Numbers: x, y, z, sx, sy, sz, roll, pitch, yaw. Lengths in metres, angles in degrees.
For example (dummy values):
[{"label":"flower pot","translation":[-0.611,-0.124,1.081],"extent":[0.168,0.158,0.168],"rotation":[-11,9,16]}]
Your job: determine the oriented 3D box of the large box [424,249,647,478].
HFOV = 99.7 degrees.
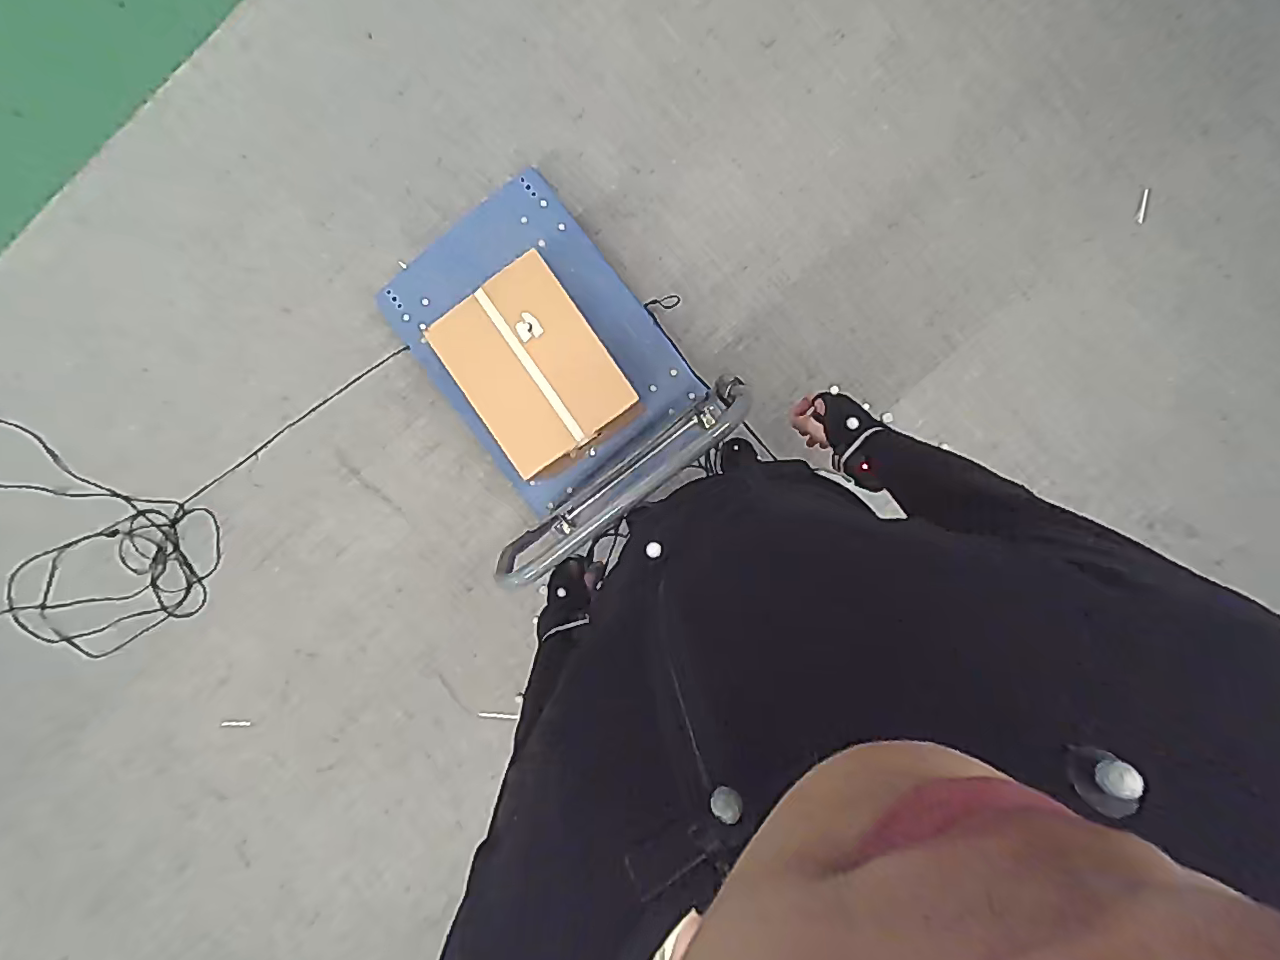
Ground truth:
[{"label":"large box","translation":[-0.225,-0.254,1.312],"extent":[0.320,0.320,0.408],"rotation":[-35,89,4]}]
